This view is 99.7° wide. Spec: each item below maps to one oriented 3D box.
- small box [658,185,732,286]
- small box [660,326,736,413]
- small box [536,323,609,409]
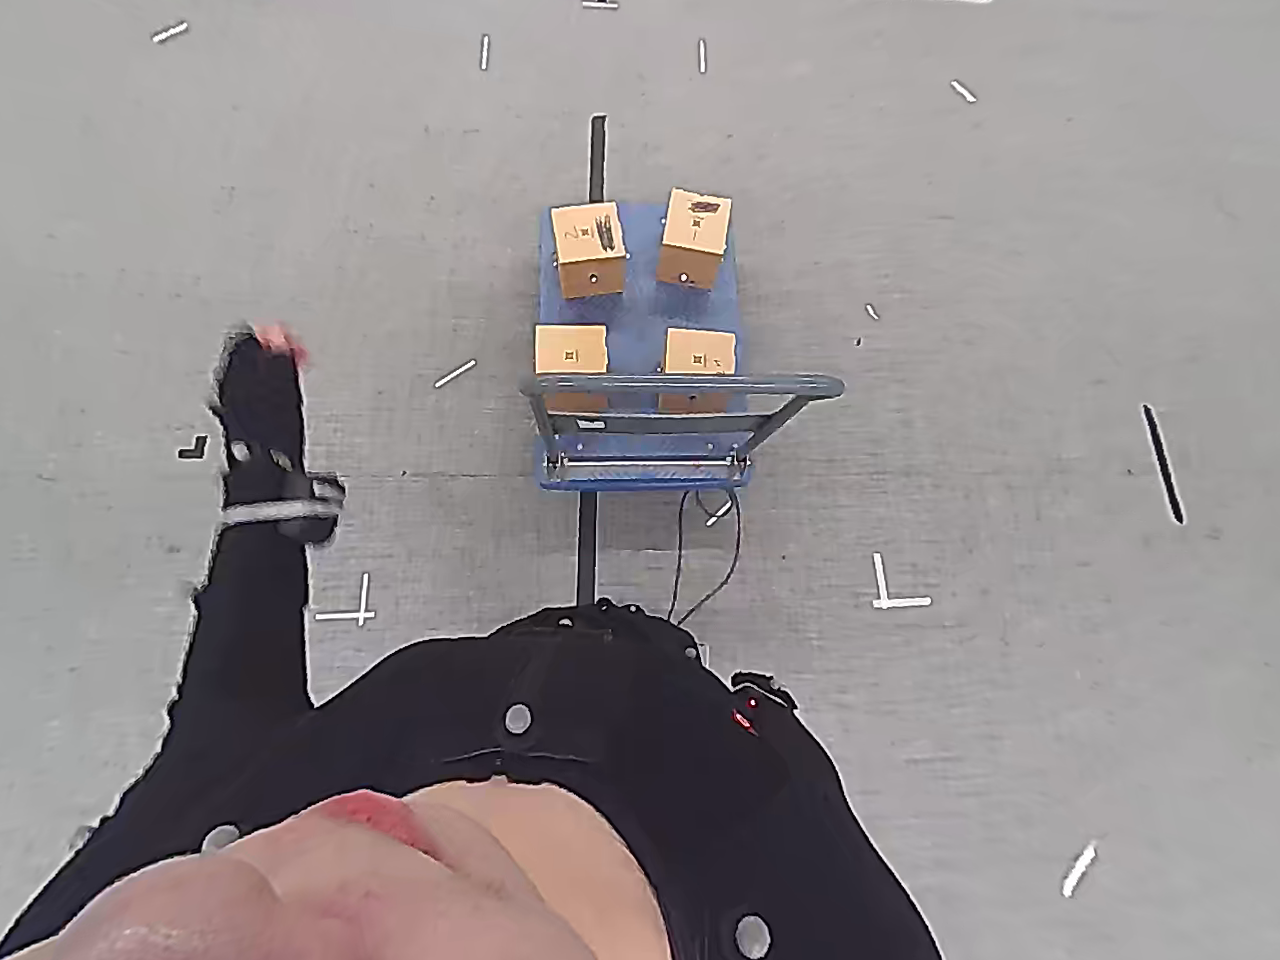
[{"bbox_3d":[0.148,-0.673,1.504,0.168,0.176,0.179,10,77,-1],"label":"small box"},{"bbox_3d":[0.146,-0.282,1.412,0.179,0.176,0.168,4,77,-3],"label":"small box"},{"bbox_3d":[-0.171,-0.289,1.391,0.179,0.176,0.168,-2,76,-6],"label":"small box"}]
